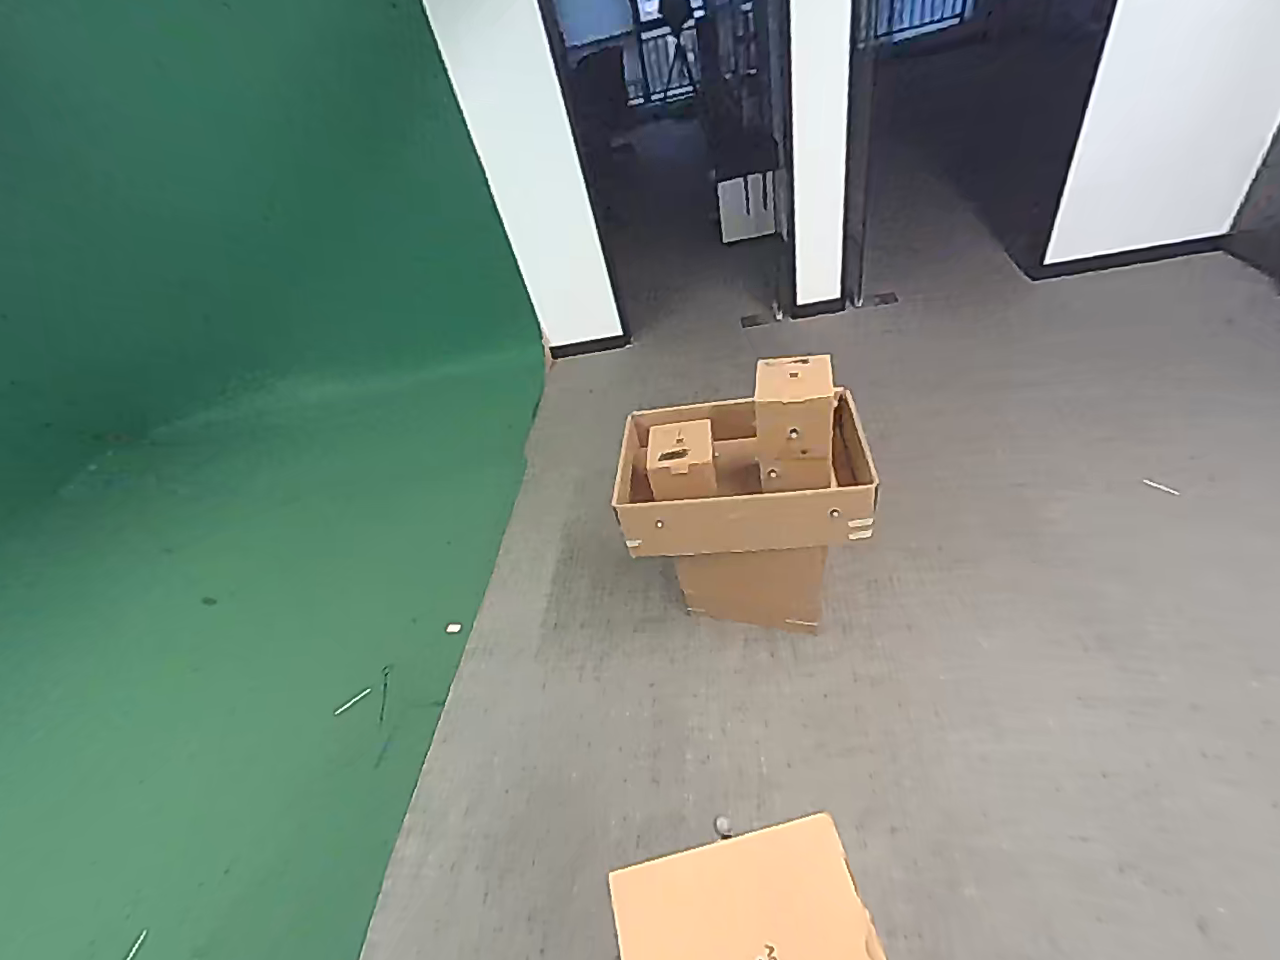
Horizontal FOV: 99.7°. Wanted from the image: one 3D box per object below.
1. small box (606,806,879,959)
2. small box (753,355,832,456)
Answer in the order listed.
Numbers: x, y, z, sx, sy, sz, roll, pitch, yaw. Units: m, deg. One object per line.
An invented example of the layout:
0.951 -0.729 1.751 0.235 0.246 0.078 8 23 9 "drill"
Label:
0.081 0.380 0.429 0.179 0.176 0.168 -12 54 -4 "small box"
0.360 -0.168 1.262 0.168 0.176 0.179 -1 44 17 "small box"
